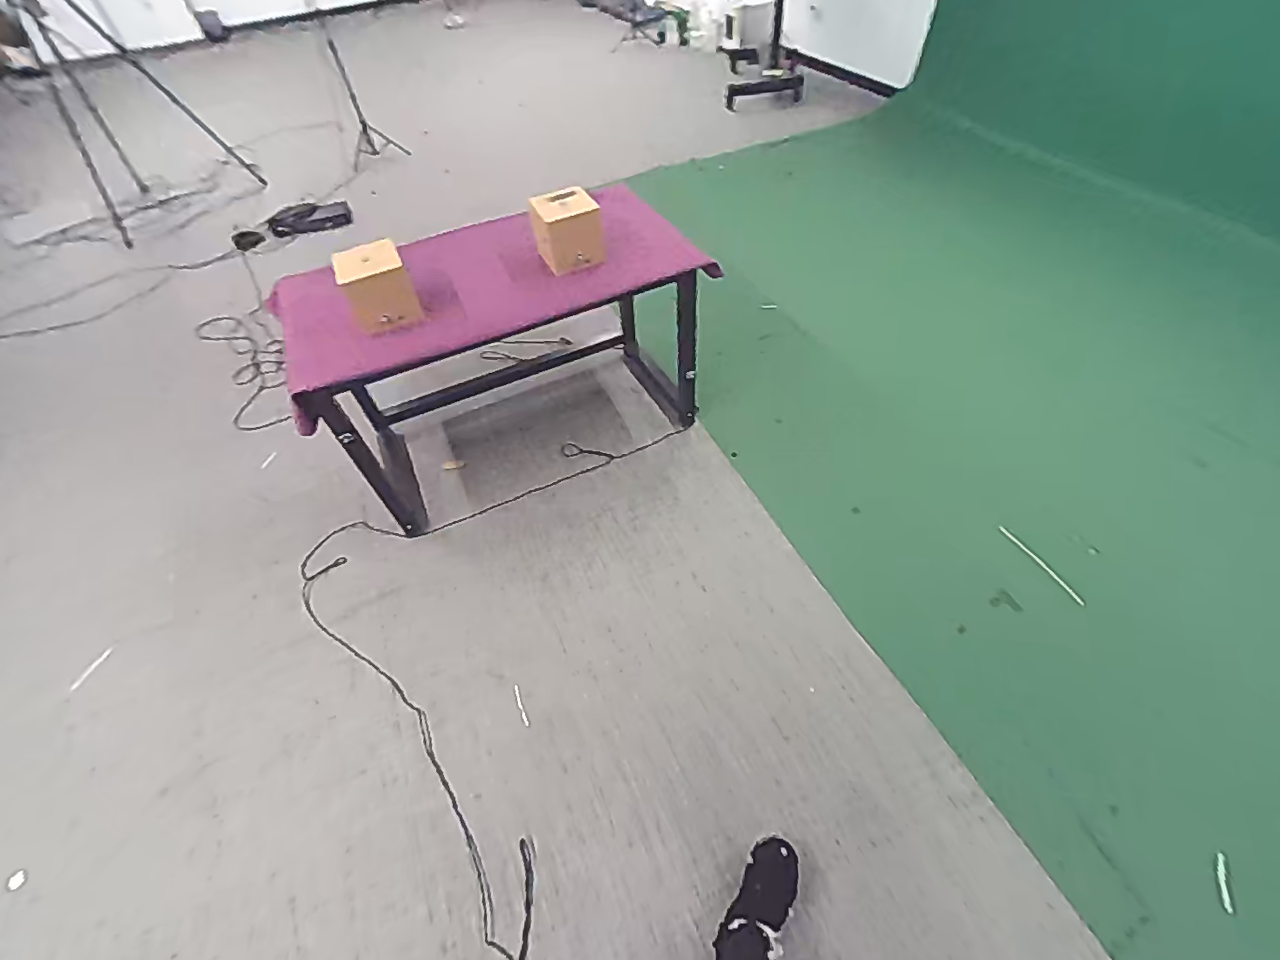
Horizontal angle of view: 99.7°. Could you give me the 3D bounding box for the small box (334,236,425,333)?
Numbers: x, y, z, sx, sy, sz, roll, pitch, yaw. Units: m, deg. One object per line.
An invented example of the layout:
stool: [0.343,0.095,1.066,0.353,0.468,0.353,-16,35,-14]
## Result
small box: [-0.713,-0.536,1.487,0.168,0.176,0.179,-23,54,-13]
